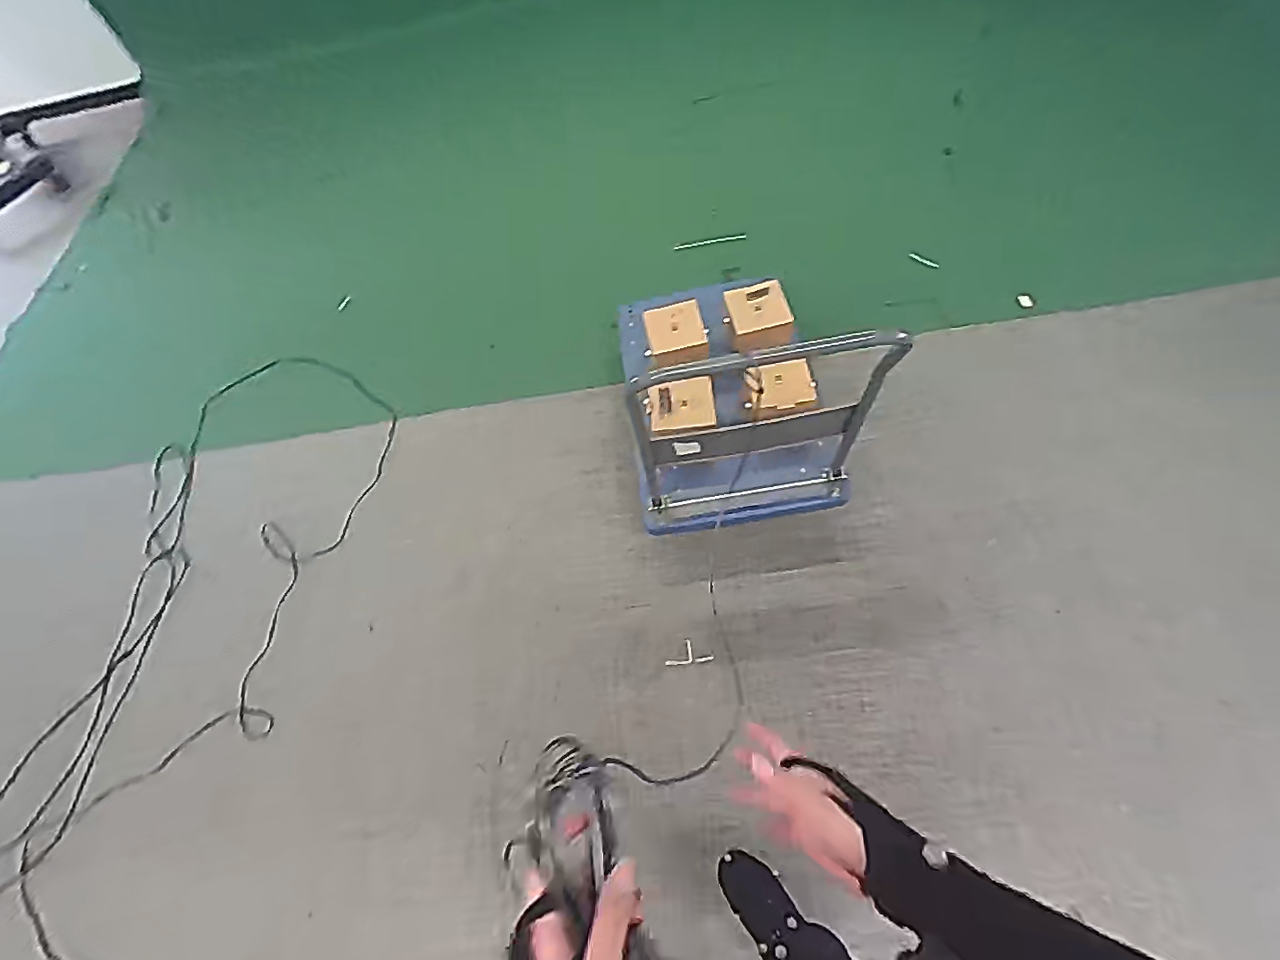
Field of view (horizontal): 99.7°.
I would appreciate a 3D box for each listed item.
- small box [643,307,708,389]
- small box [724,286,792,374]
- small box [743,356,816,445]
[{"bbox_3d":[0.113,-0.401,1.680,0.168,0.176,0.179,-13,62,2],"label":"small box"},{"bbox_3d":[0.358,-0.459,1.669,0.168,0.176,0.179,-13,62,3],"label":"small box"},{"bbox_3d":[0.389,-0.223,1.542,0.168,0.176,0.179,-9,63,5],"label":"small box"}]
